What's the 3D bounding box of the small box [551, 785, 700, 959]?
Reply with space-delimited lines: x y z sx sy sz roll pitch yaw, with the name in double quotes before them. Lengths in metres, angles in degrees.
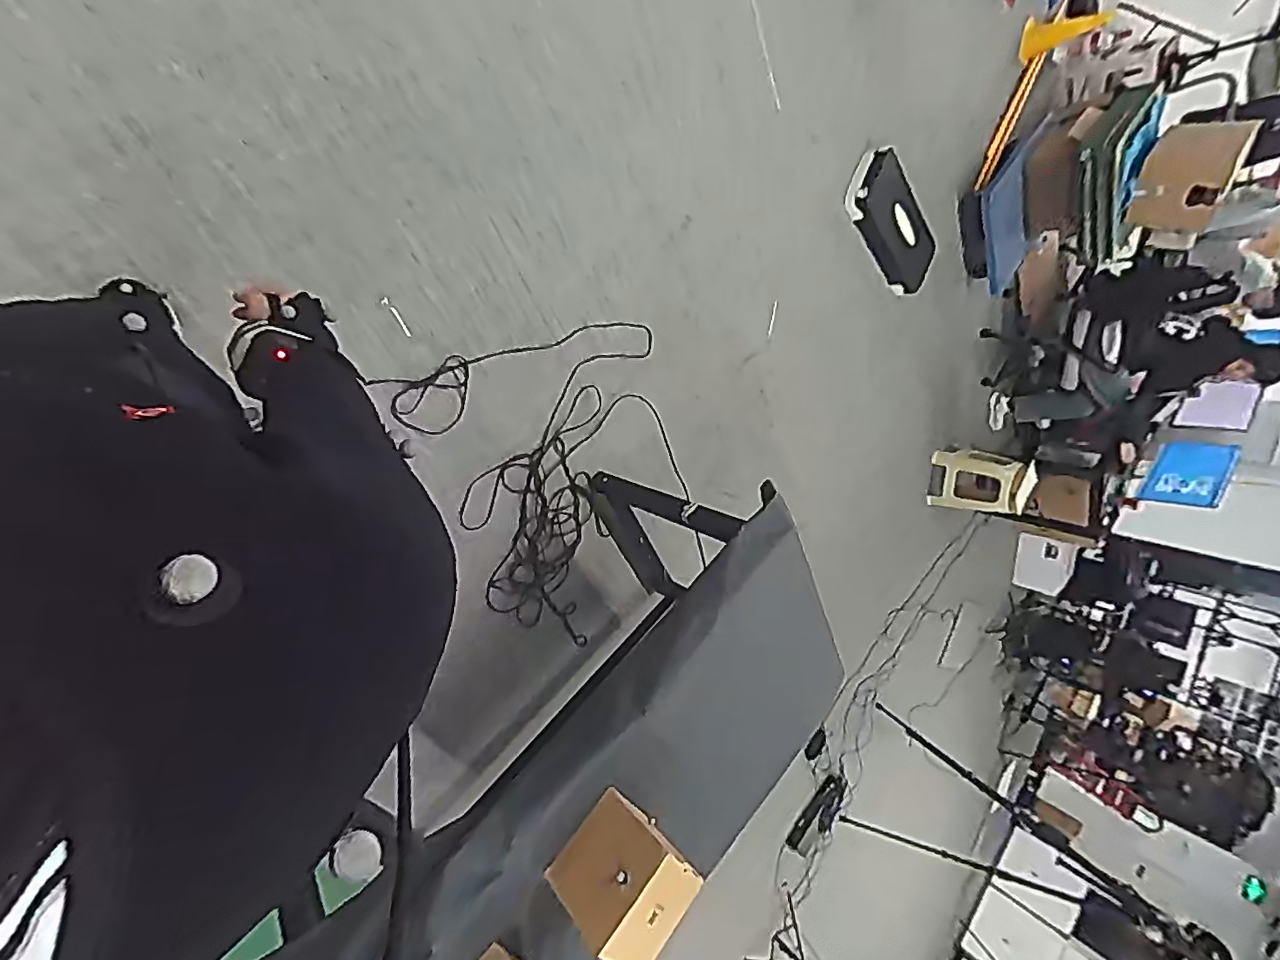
"small box" -0.032 0.687 0.948 0.179 0.176 0.168 -47 128 -22
